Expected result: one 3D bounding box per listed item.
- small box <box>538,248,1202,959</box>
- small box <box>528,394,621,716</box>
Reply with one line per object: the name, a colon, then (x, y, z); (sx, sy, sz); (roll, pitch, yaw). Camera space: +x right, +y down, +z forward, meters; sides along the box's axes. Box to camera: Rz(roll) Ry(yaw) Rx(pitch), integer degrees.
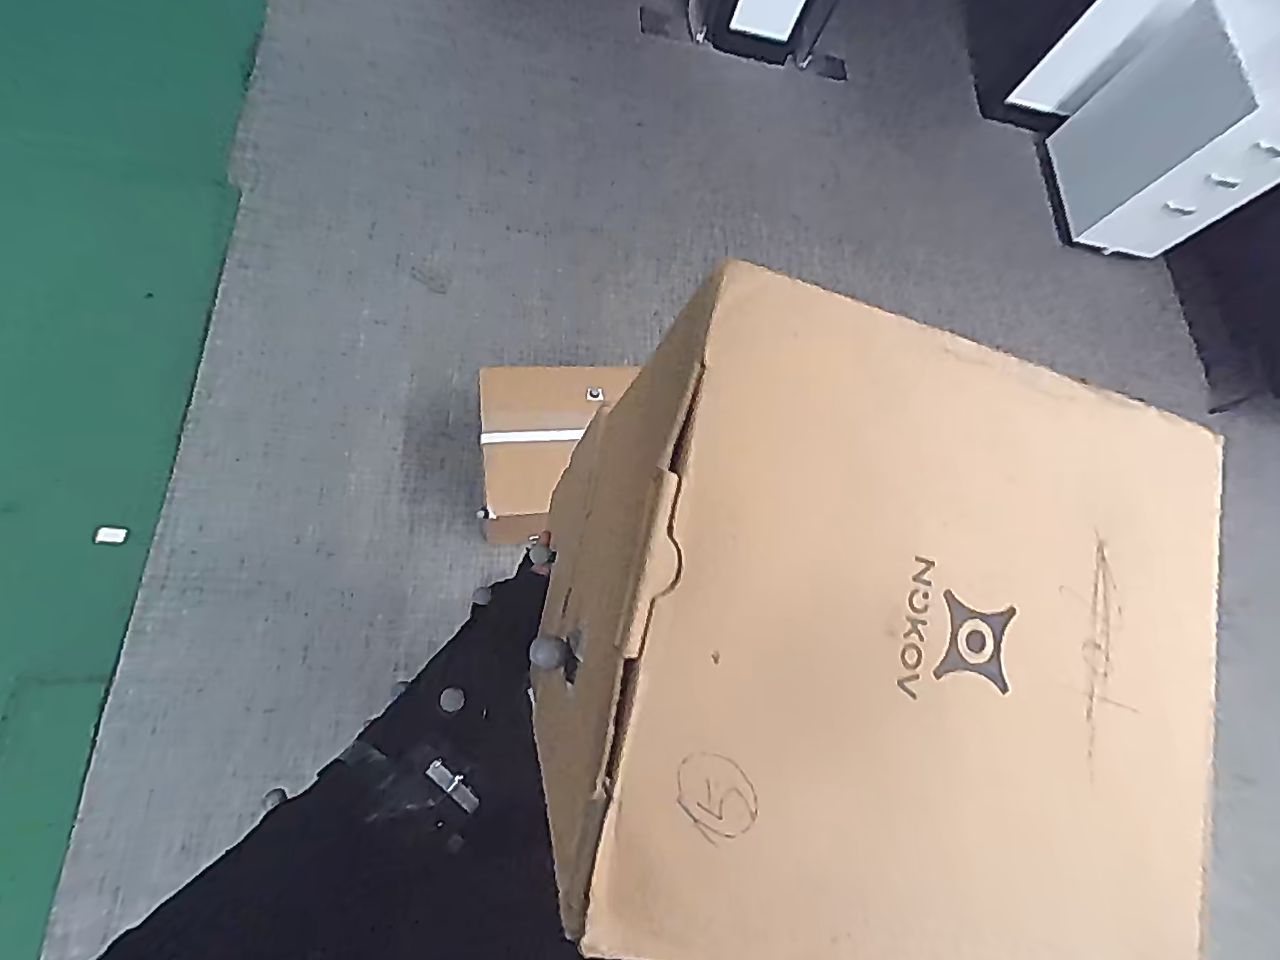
small box: (0.063, 0.046, 0.221); (0.179, 0.176, 0.168); (15, 80, -12)
small box: (0.021, 0.062, 0.379); (0.168, 0.176, 0.179); (13, 80, -11)
